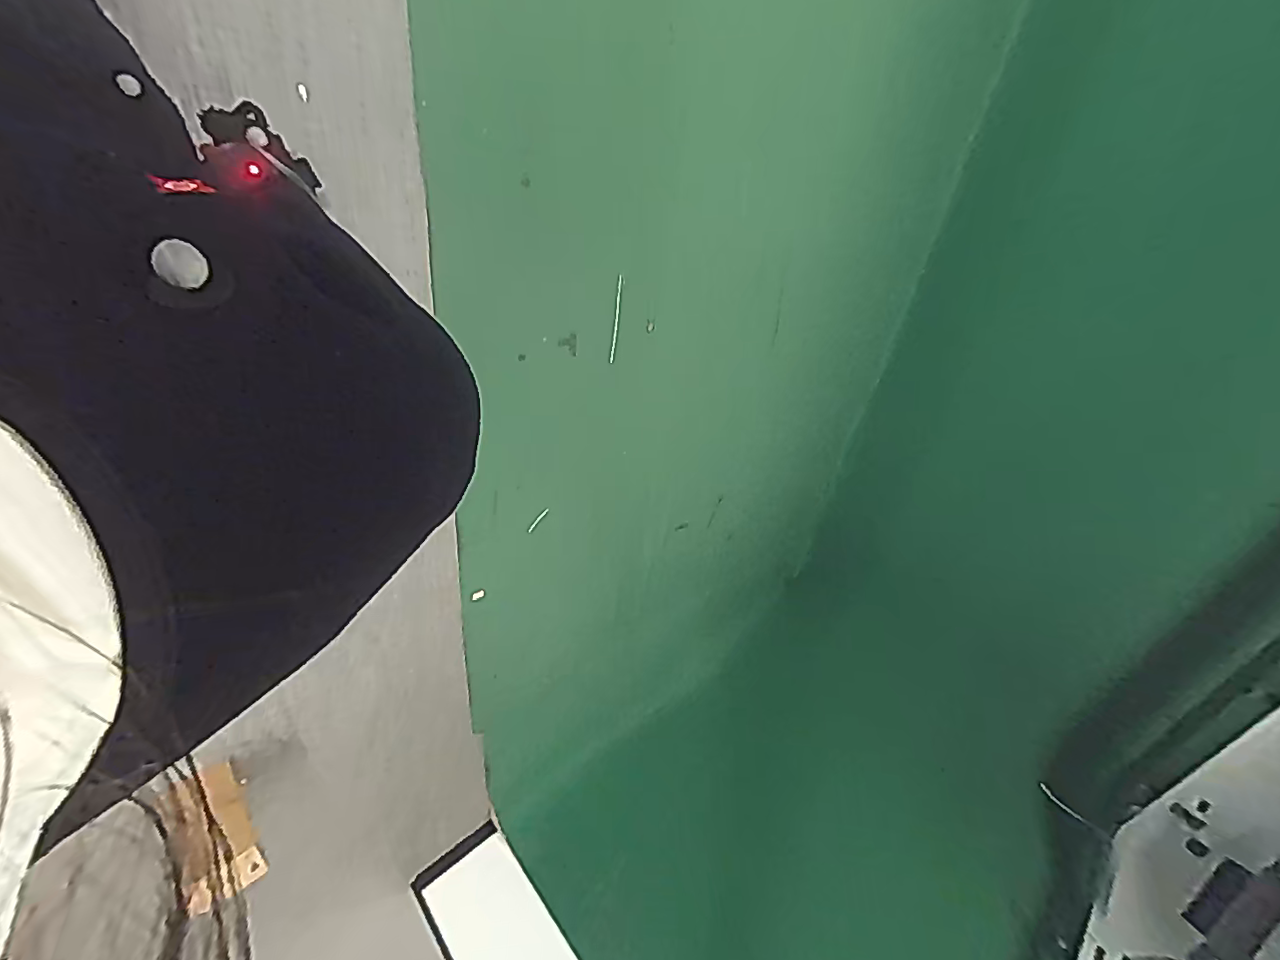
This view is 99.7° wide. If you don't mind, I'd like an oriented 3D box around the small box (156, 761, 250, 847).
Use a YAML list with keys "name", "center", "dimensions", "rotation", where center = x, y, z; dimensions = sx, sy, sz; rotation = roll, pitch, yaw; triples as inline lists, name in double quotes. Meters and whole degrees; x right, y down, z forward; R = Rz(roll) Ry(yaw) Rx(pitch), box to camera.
- name: "small box"
  center: [-1.326, 1.005, 1.638]
  dimensions: [0.179, 0.176, 0.168]
  rotation: [-25, 136, -39]

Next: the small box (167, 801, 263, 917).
- name: "small box"
  center: [-1.214, 1.073, 1.542]
  dimensions: [0.179, 0.176, 0.168]
  rotation: [-22, 134, -39]
